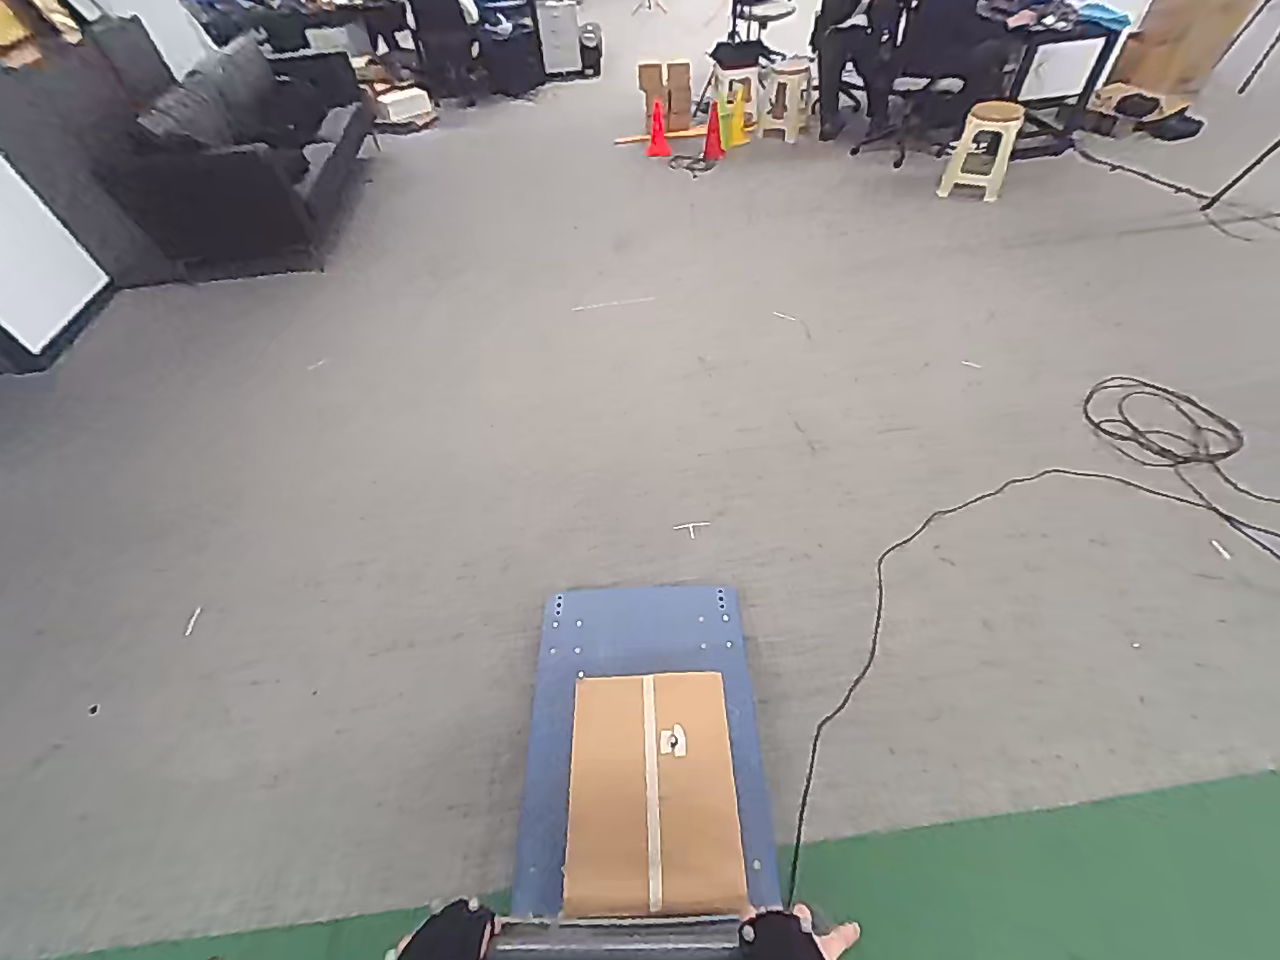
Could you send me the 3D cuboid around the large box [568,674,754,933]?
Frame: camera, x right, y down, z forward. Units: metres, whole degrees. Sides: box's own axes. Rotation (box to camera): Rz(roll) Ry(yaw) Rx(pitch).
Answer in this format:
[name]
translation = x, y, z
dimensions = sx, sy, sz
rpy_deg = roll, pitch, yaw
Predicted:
[large box]
translation = 0.037, 0.667, 1.122
dimensions = 0.320, 0.320, 0.408
rpy_deg = -3, 48, 1
